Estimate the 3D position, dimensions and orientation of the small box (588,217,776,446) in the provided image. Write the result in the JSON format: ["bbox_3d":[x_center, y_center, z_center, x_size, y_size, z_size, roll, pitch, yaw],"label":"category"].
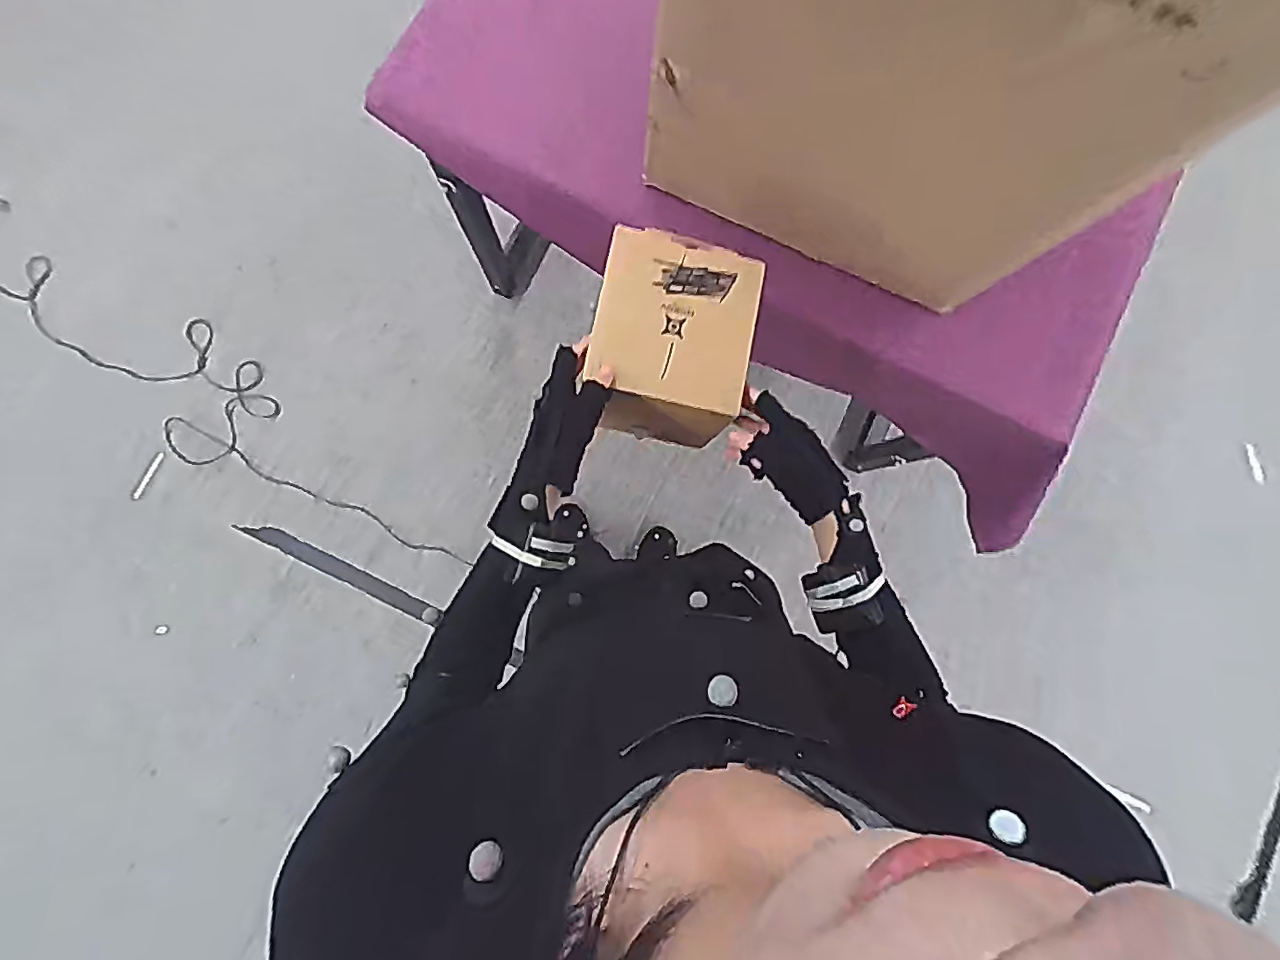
[{"bbox_3d":[0.036,-0.154,0.618,0.168,0.176,0.179,13,80,-5],"label":"small box"}]
